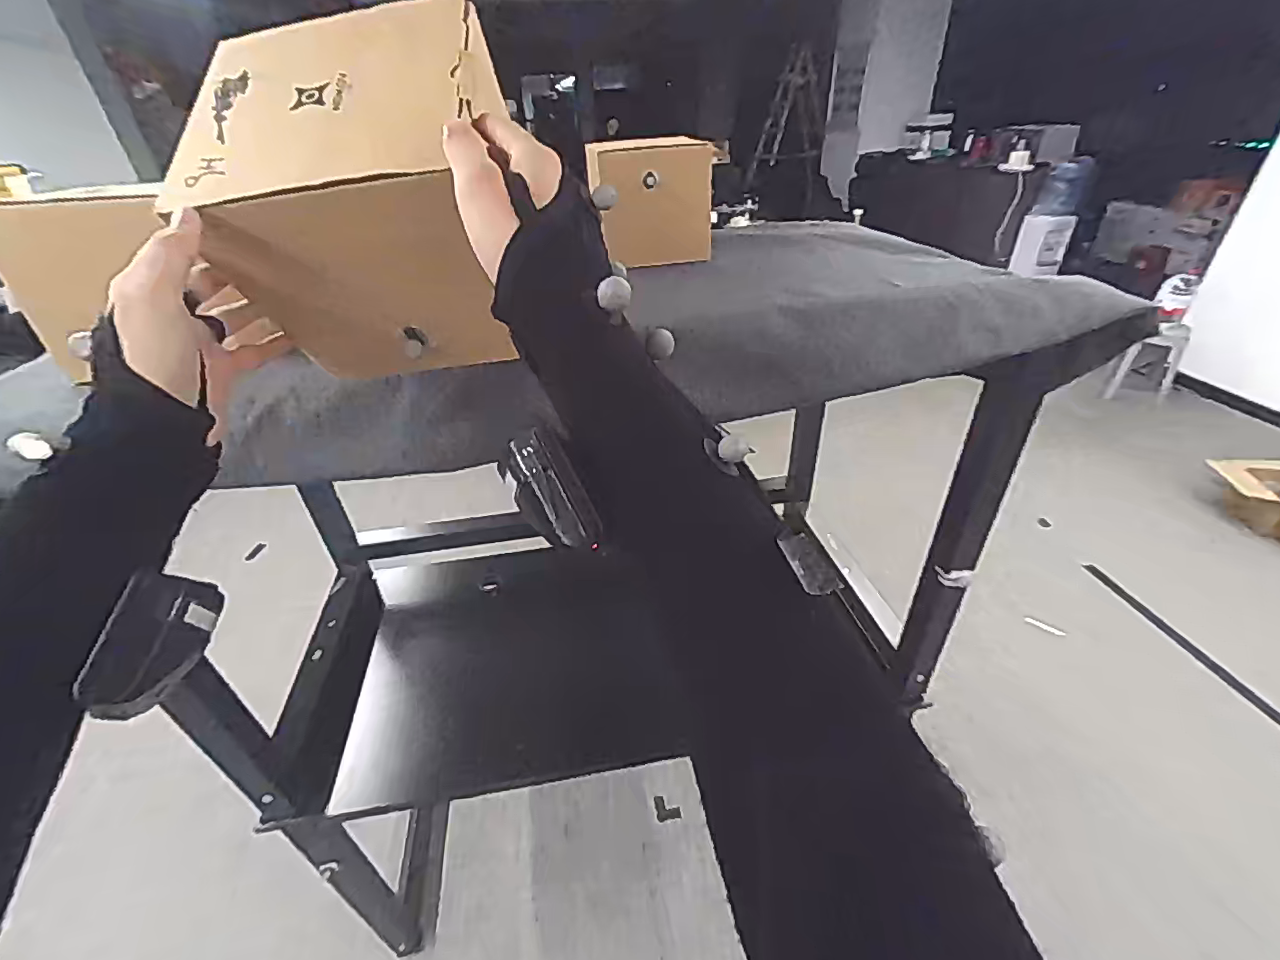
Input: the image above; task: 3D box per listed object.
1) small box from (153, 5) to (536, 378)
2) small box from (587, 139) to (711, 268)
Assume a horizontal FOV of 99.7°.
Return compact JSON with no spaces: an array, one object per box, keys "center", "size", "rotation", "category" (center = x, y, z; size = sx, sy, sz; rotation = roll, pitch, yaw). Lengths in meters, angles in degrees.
[{"center":[-0.180,-0.195,0.398],"size":[0.179,0.176,0.168],"rotation":[-6,65,4],"category":"small box"},{"center":[0.014,-0.458,0.895],"size":[0.179,0.176,0.168],"rotation":[-8,35,-6],"category":"small box"}]
